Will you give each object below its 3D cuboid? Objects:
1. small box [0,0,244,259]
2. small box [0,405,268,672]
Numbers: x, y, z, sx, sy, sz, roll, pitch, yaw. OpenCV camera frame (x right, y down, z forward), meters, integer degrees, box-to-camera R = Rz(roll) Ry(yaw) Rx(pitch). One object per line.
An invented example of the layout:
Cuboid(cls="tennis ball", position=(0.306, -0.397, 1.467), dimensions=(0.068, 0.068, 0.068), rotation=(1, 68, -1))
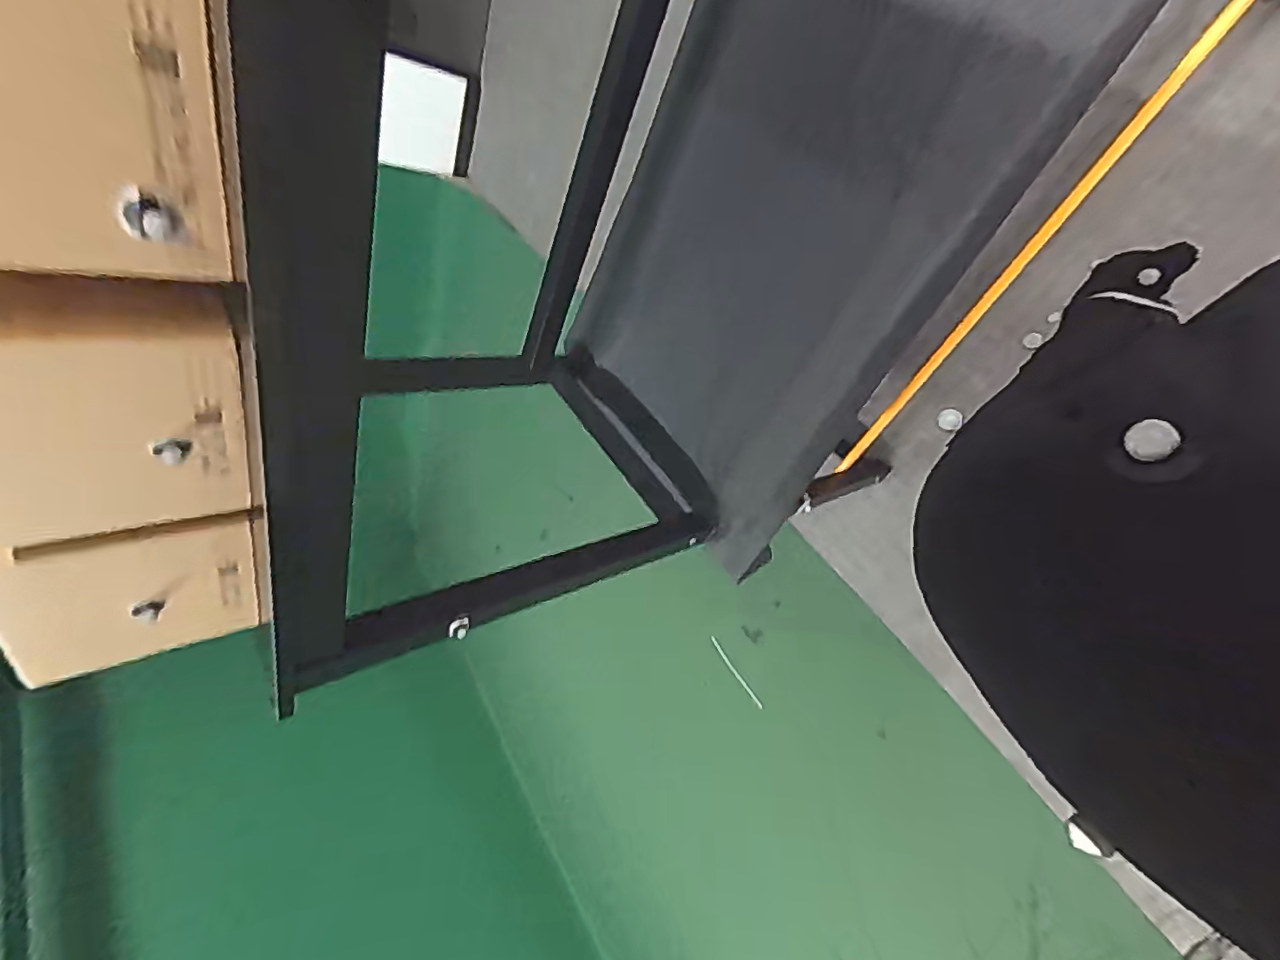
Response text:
Cuboid(cls="small box", position=(-0.308, -0.224, 0.262), dimensions=(0.179, 0.176, 0.168), rotation=(51, 133, 30))
Cuboid(cls="small box", position=(-0.468, 0.041, 0.512), dimensions=(0.179, 0.176, 0.168), rotation=(52, 132, 28))
